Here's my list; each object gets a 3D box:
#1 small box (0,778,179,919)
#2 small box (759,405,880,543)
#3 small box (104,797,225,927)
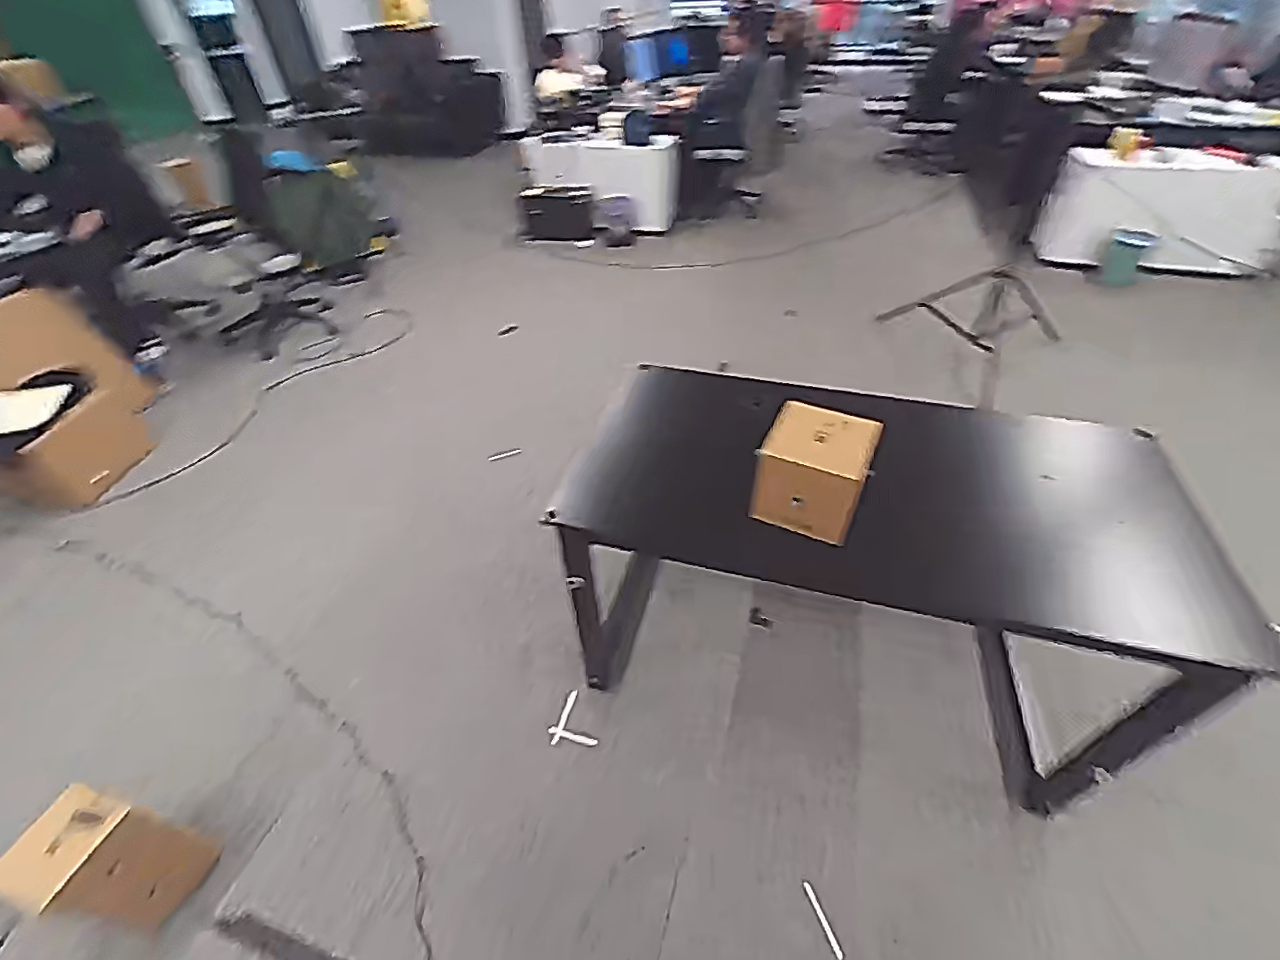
[{"bbox_3d":[-1.101,0.750,1.102,0.168,0.176,0.179,11,45,15],"label":"small box"},{"bbox_3d":[0.332,-0.011,1.020,0.168,0.176,0.179,19,47,21],"label":"small box"},{"bbox_3d":[-1.105,0.865,1.222,0.168,0.176,0.179,16,47,19],"label":"small box"}]
